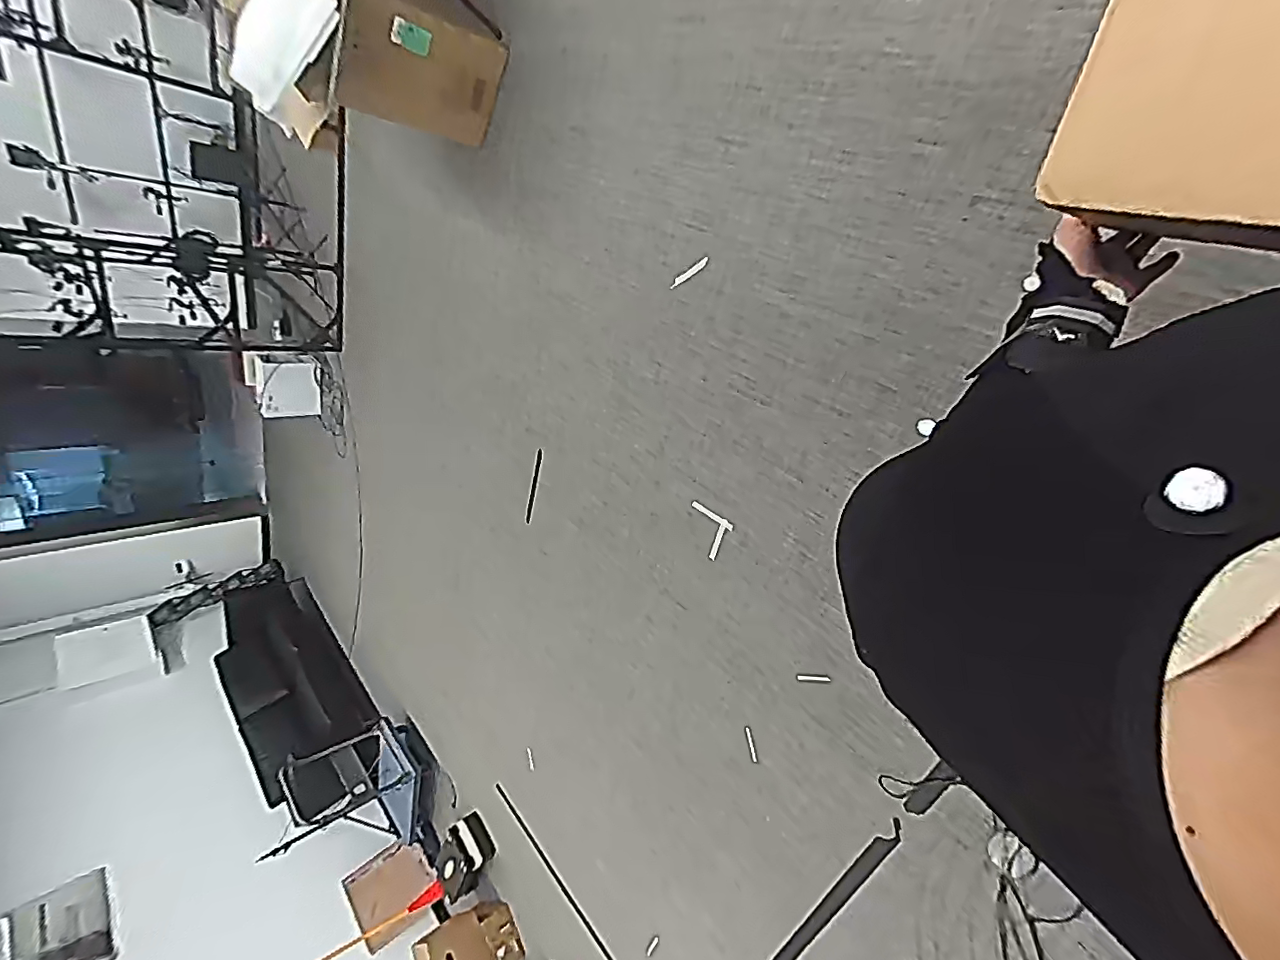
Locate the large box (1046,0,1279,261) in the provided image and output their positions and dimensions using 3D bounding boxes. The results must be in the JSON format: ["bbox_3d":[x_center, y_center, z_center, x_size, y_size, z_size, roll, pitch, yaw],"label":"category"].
[{"bbox_3d":[0.502,-0.255,0.241,0.408,0.320,0.320,30,126,37],"label":"large box"}]
